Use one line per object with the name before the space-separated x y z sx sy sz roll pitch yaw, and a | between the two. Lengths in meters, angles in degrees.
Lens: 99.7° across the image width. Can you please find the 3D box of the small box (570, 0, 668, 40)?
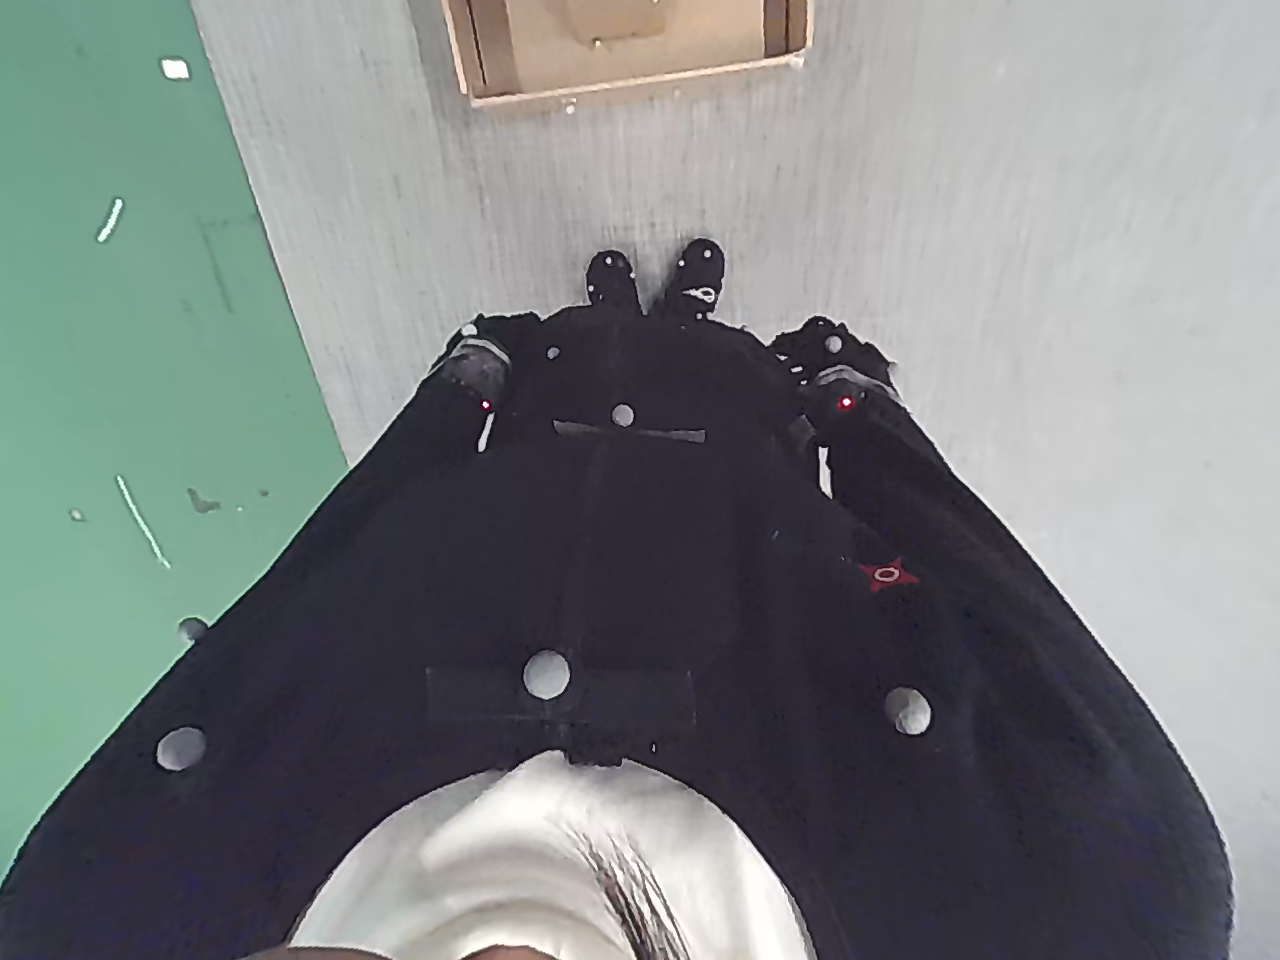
small box | -0.040 -0.890 0.930 0.168 0.176 0.179 -6 116 3
